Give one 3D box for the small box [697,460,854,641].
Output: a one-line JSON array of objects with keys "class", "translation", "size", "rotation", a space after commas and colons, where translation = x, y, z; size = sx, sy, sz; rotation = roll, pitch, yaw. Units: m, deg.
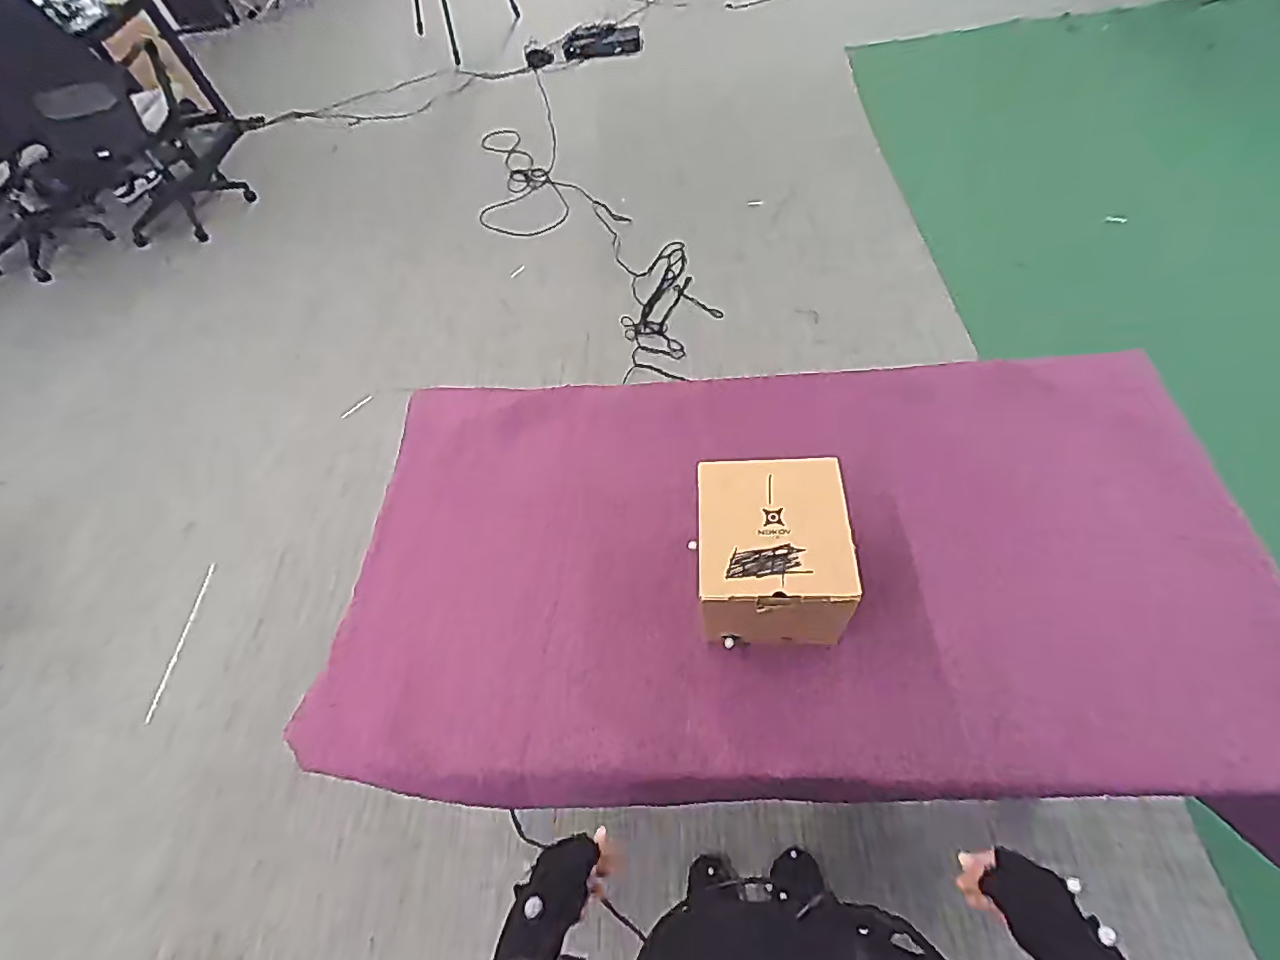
[{"class": "small box", "translation": [0.158, 0.095, 0.677], "size": [0.168, 0.176, 0.179], "rotation": [-2, 57, 8]}]
